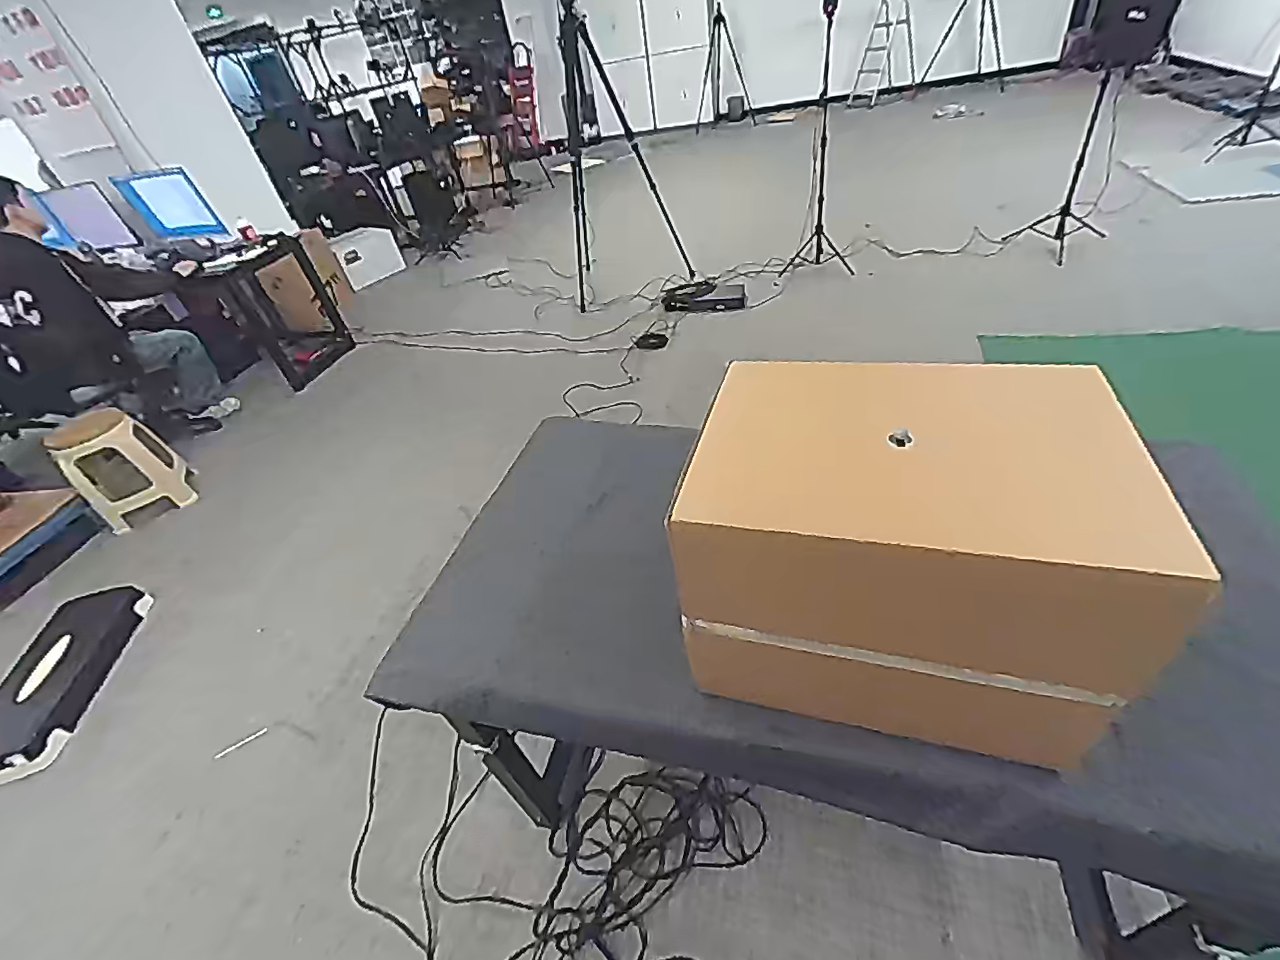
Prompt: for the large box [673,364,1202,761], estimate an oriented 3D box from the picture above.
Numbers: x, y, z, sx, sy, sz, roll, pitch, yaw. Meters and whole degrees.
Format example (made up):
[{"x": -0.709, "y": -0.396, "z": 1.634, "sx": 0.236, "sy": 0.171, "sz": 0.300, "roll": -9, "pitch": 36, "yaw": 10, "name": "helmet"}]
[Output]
[{"x": 0.281, "y": 0.077, "z": 0.642, "sx": 0.408, "sy": 0.320, "sz": 0.320, "roll": 5, "pitch": 41, "yaw": 18, "name": "large box"}]
